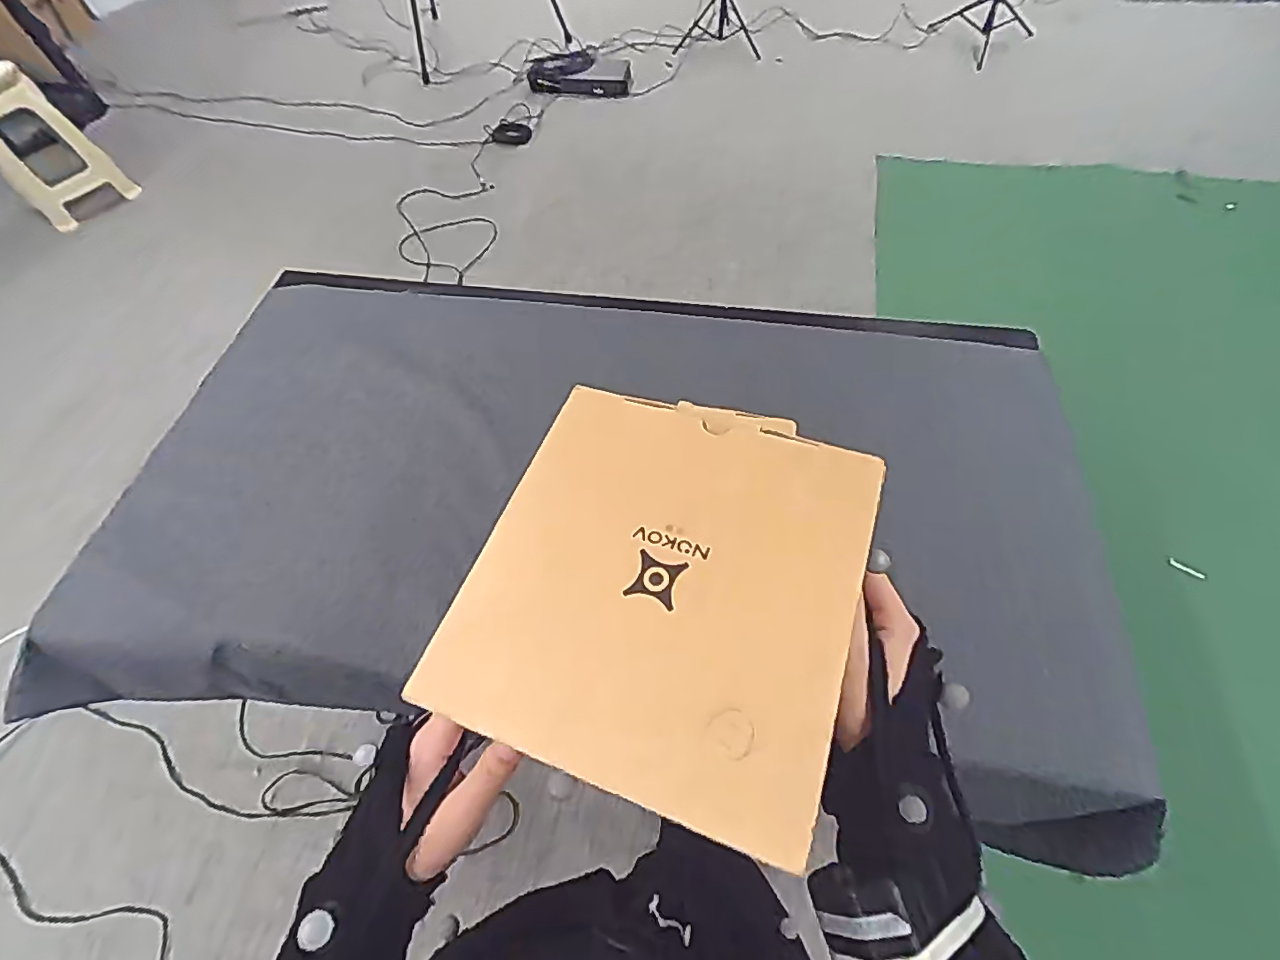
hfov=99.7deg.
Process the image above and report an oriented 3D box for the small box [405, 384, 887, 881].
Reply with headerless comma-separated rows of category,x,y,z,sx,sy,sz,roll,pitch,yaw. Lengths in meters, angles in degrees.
small box,0.018,0.079,0.300,0.168,0.176,0.179,15,62,16
